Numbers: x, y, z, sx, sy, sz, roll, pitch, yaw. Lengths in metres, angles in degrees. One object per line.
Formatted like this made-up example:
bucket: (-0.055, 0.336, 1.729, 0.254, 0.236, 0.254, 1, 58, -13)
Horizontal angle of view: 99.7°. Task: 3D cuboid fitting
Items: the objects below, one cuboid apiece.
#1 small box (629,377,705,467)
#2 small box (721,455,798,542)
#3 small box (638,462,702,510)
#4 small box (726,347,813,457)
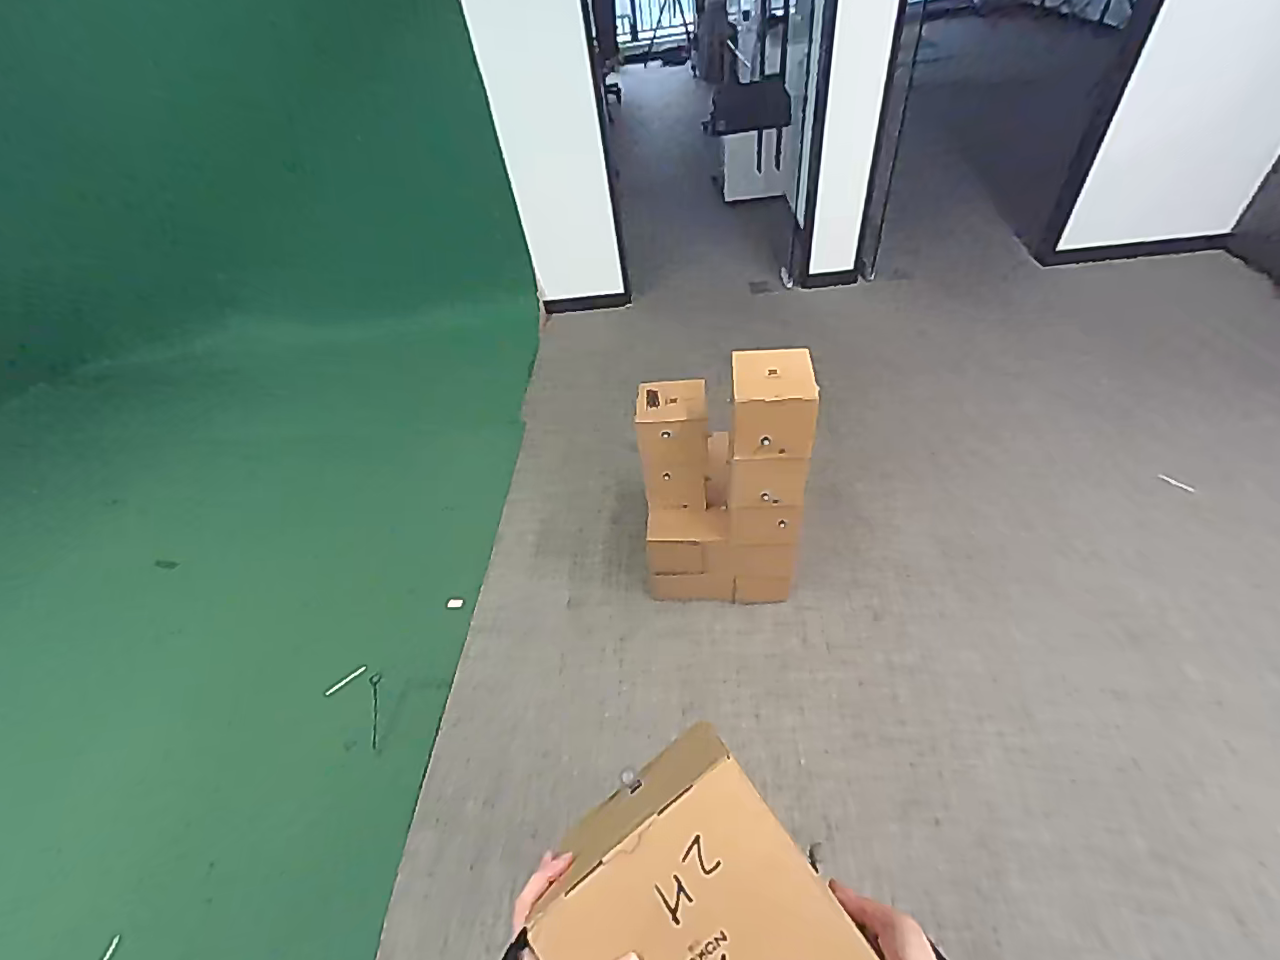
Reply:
small box: (0.076, -0.148, 1.421, 0.179, 0.176, 0.168, -3, 46, 8)
small box: (0.307, 0.049, 1.424, 0.179, 0.176, 0.168, -3, 45, 7)
small box: (0.091, -0.034, 1.542, 0.168, 0.176, 0.179, -2, 45, 8)
small box: (0.274, -0.170, 1.183, 0.168, 0.176, 0.179, -1, 46, 7)
